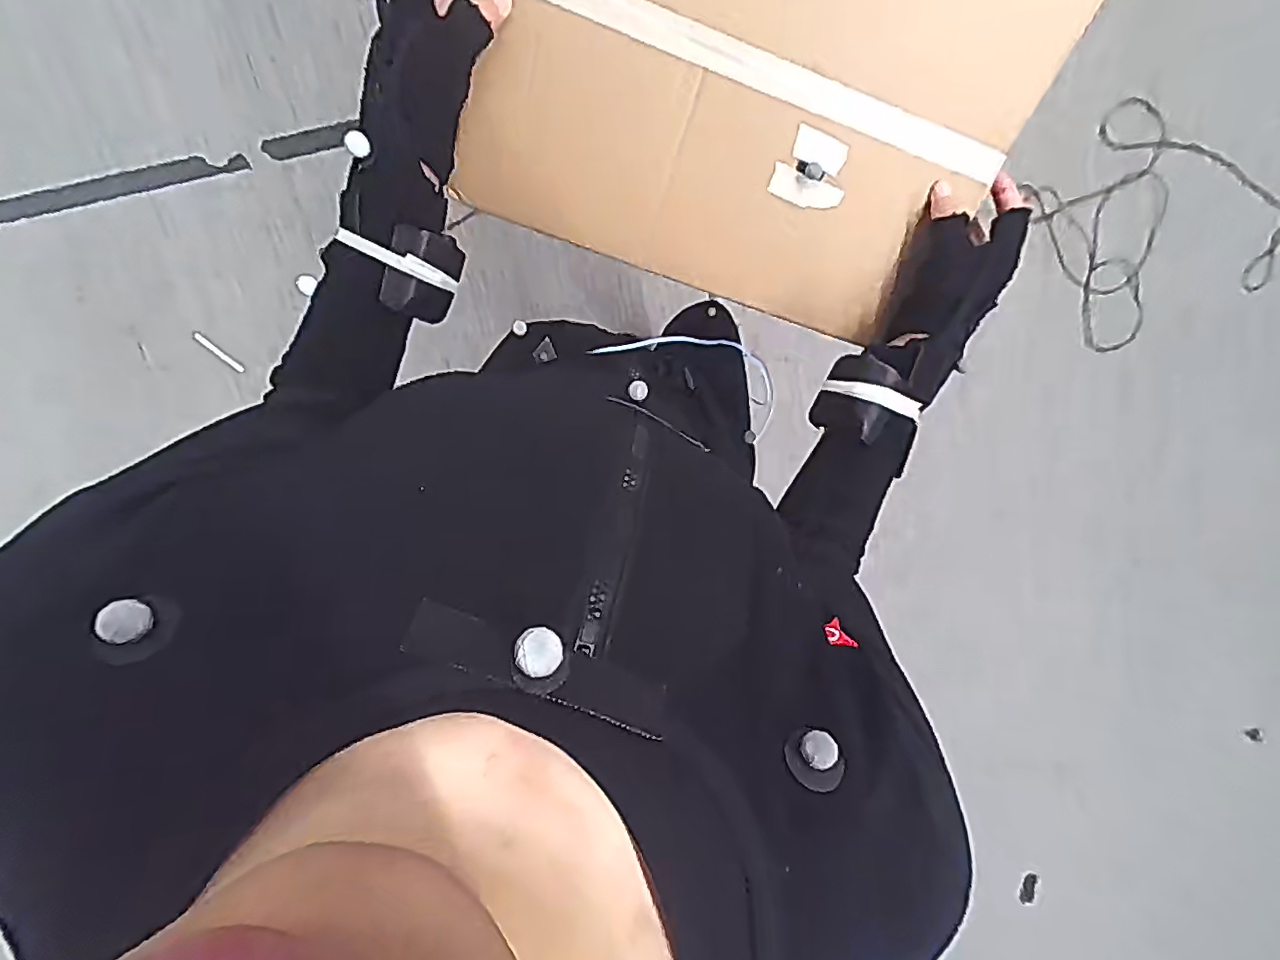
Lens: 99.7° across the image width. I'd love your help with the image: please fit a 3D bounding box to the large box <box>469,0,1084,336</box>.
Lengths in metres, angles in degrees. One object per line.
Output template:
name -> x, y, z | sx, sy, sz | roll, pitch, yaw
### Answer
large box -> 0.090, -0.390, 0.525 | 0.408, 0.320, 0.320 | 16, 124, -10
